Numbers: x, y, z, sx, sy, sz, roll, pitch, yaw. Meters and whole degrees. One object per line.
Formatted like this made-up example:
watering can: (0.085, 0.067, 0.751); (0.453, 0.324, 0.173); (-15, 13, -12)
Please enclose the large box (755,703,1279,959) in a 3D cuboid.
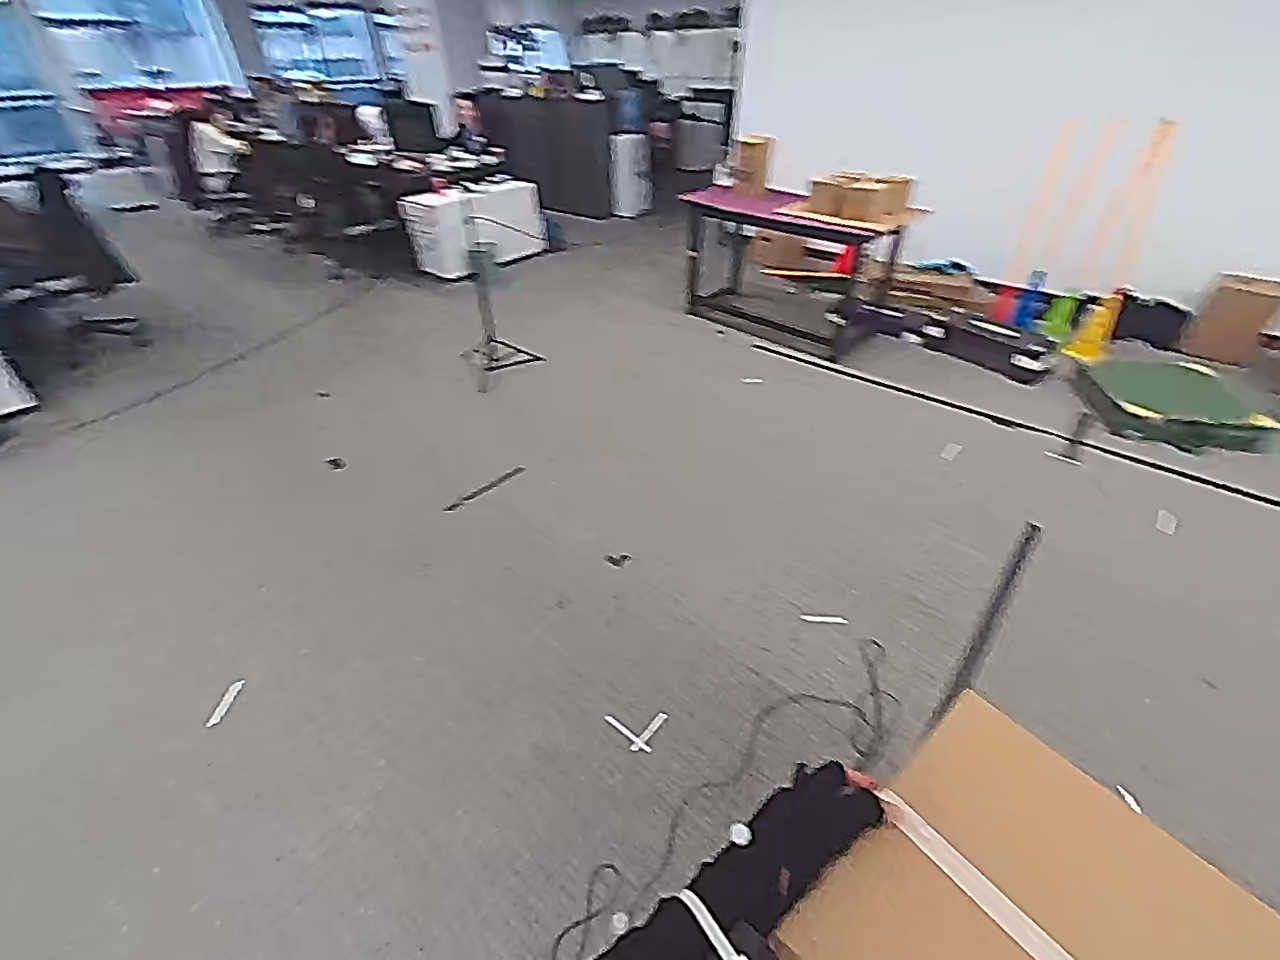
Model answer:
large box: (0.341, 0.496, 0.464); (0.320, 0.320, 0.408); (-30, 49, -27)
